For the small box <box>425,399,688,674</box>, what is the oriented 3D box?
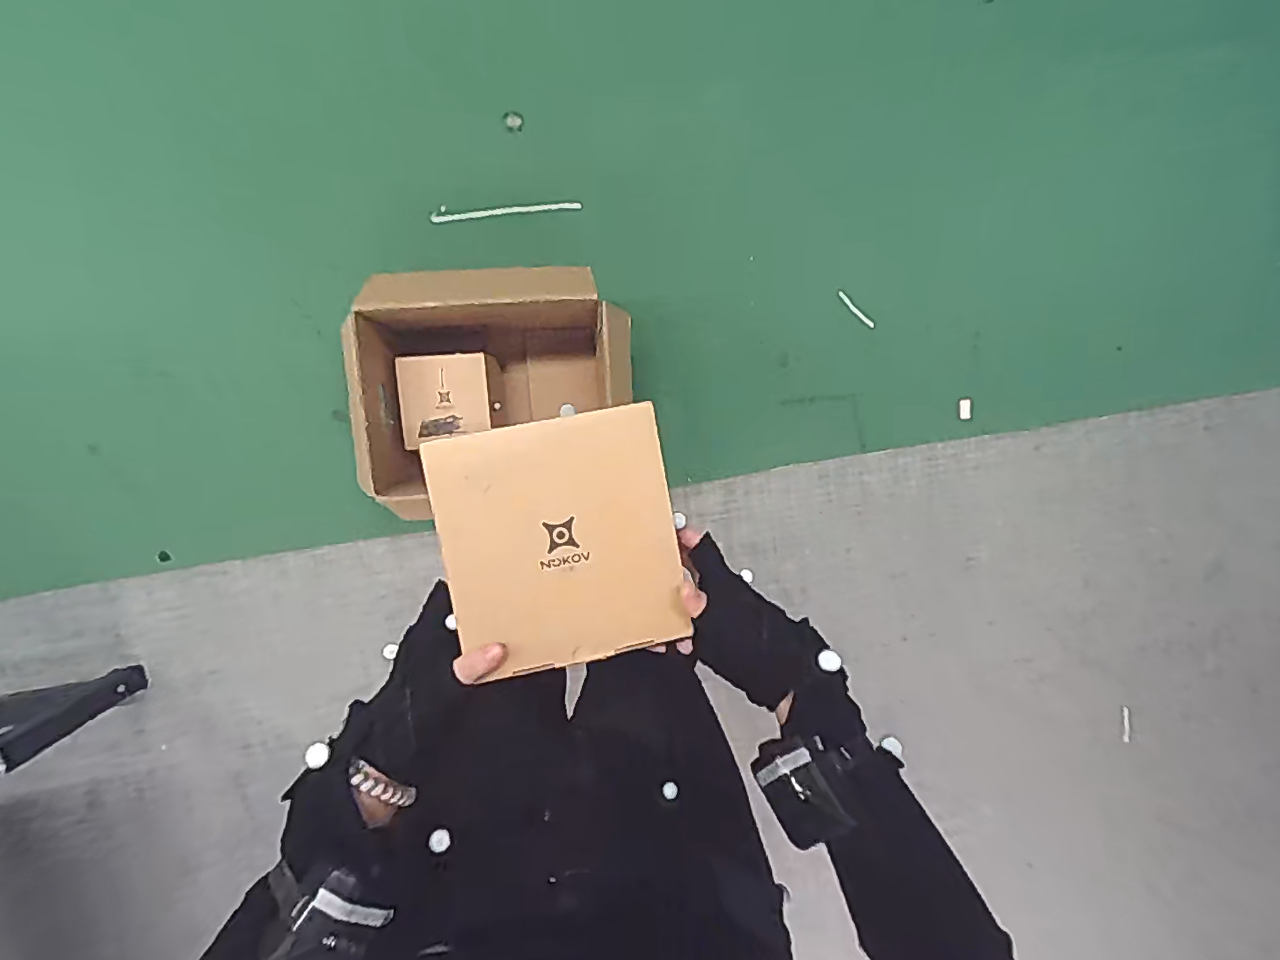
[{"bbox_3d":[-0.068,0.036,0.464,0.168,0.176,0.179,-10,94,-8],"label":"small box"}]
